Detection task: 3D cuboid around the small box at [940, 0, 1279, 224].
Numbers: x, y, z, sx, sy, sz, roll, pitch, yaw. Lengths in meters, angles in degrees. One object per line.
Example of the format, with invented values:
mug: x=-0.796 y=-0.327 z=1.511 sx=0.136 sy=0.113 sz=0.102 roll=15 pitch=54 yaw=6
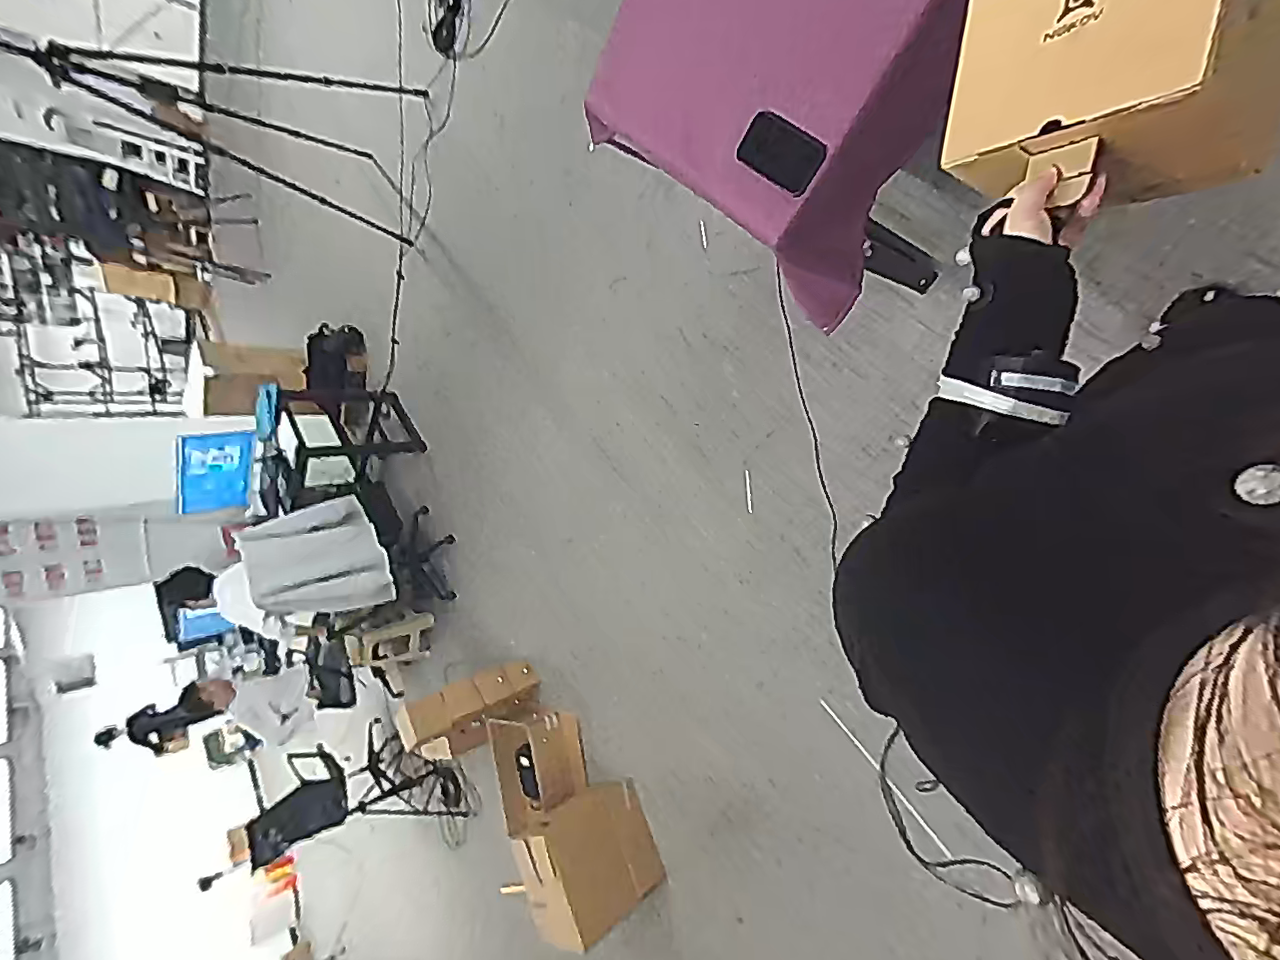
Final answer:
small box: x=0.381 y=-0.335 z=0.436 sx=0.168 sy=0.176 sz=0.179 roll=18 pitch=104 yaw=55
